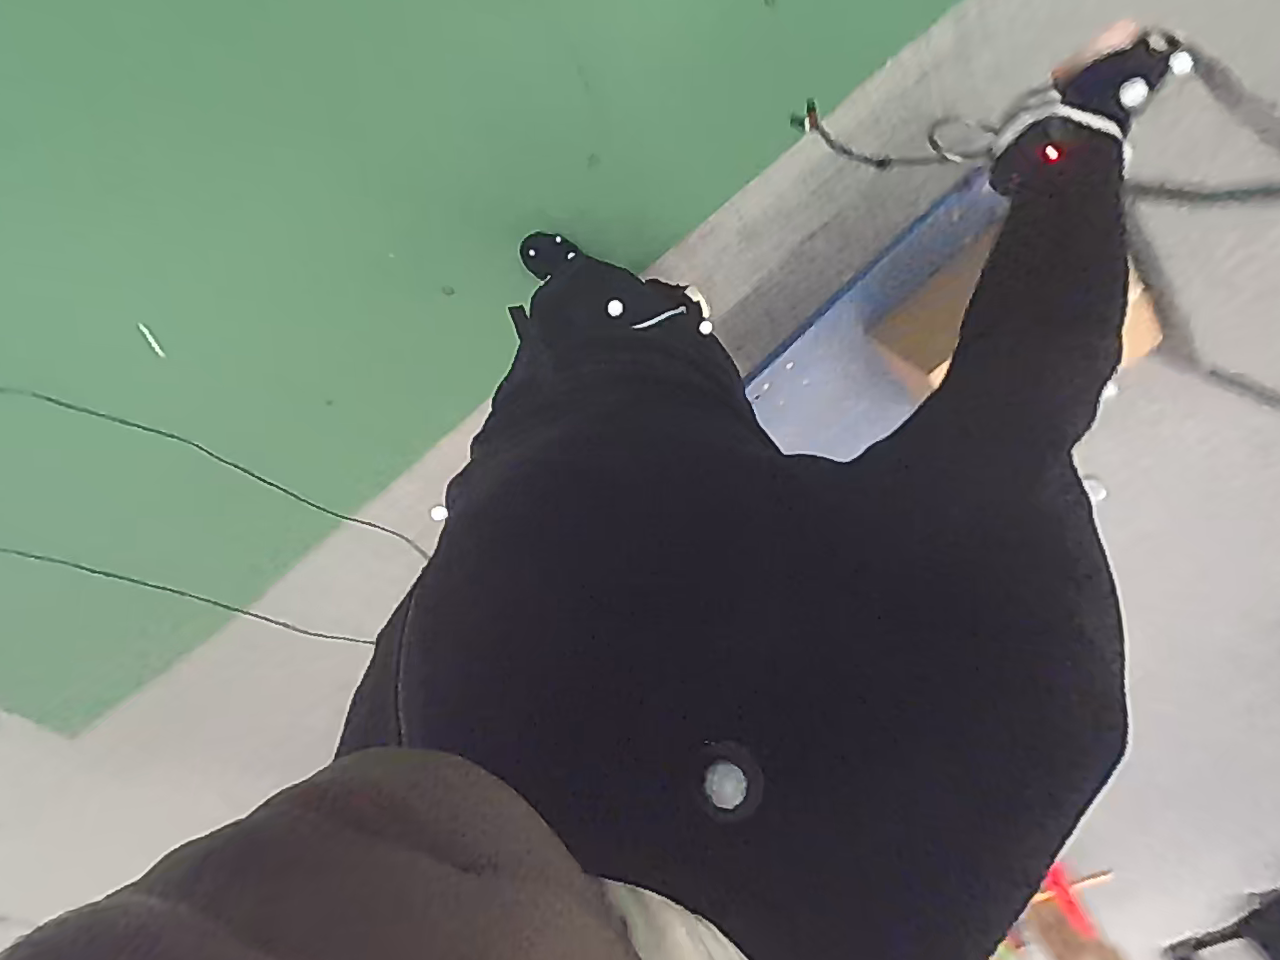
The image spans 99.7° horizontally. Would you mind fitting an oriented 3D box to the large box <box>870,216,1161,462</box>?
[{"bbox_3d":[0.840,-0.330,1.261,0.320,0.320,0.408,38,112,-24],"label":"large box"}]
